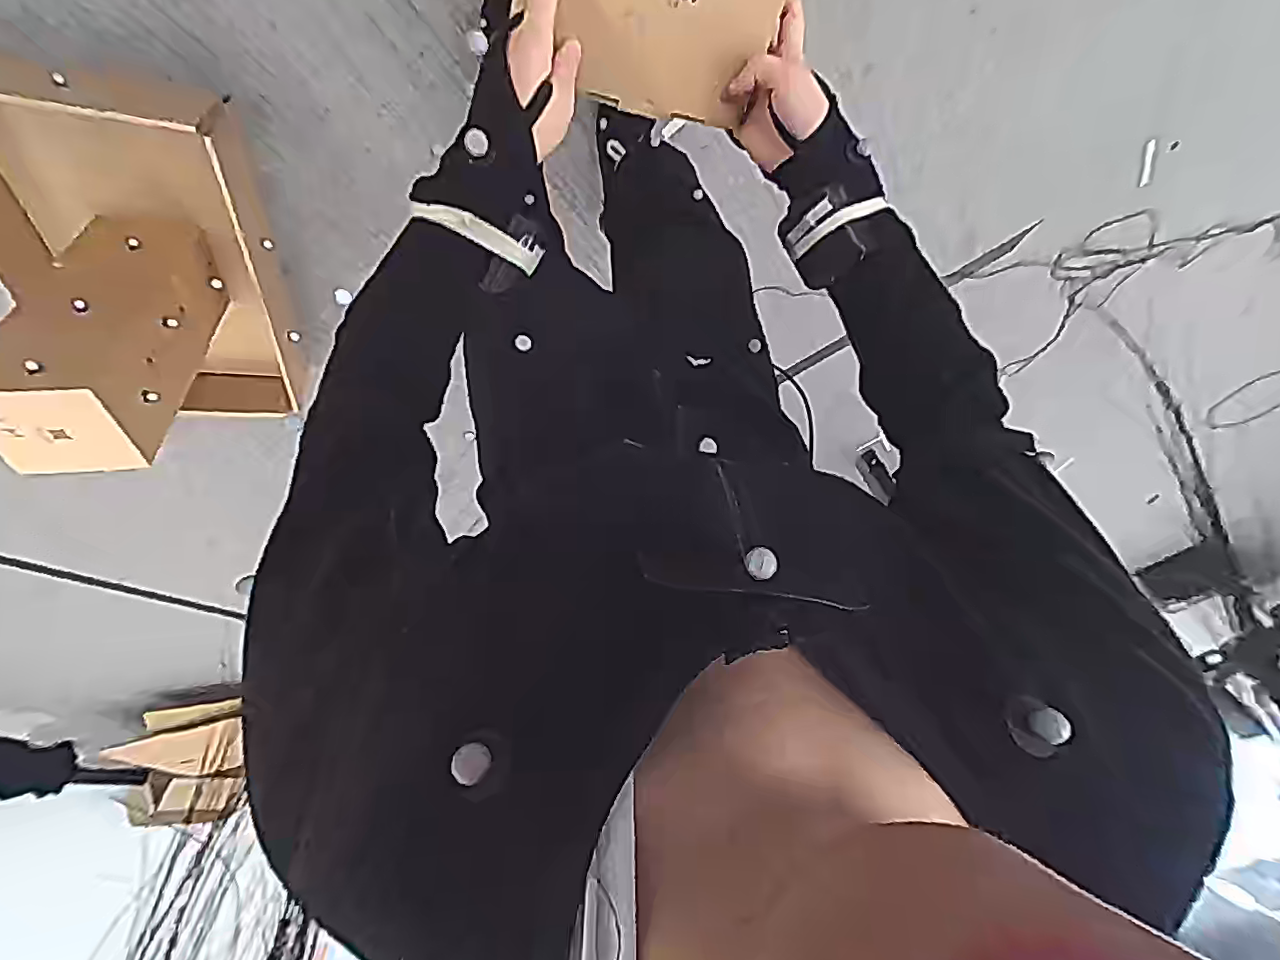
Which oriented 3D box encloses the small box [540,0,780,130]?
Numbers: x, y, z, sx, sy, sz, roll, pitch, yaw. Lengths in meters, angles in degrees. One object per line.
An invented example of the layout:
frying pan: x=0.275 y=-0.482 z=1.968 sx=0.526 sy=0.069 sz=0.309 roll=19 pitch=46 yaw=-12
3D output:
small box: x=0.014 y=-0.420 z=0.419 sx=0.168 sy=0.176 sz=0.179 roll=2 pitch=147 yaw=-16

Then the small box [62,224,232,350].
small box: x=-0.940 y=-0.376 z=1.053 sx=0.179 sy=0.176 sz=0.168 roll=-2 pitch=140 yaw=-18

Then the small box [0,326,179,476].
small box: x=-0.873 y=-0.127 z=0.851 sx=0.179 sy=0.176 sz=0.168 roll=-4 pitch=139 yaw=-14

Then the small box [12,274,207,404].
small box: x=-0.910 y=-0.249 z=0.958 sx=0.179 sy=0.176 sz=0.168 roll=-3 pitch=139 yaw=-13
